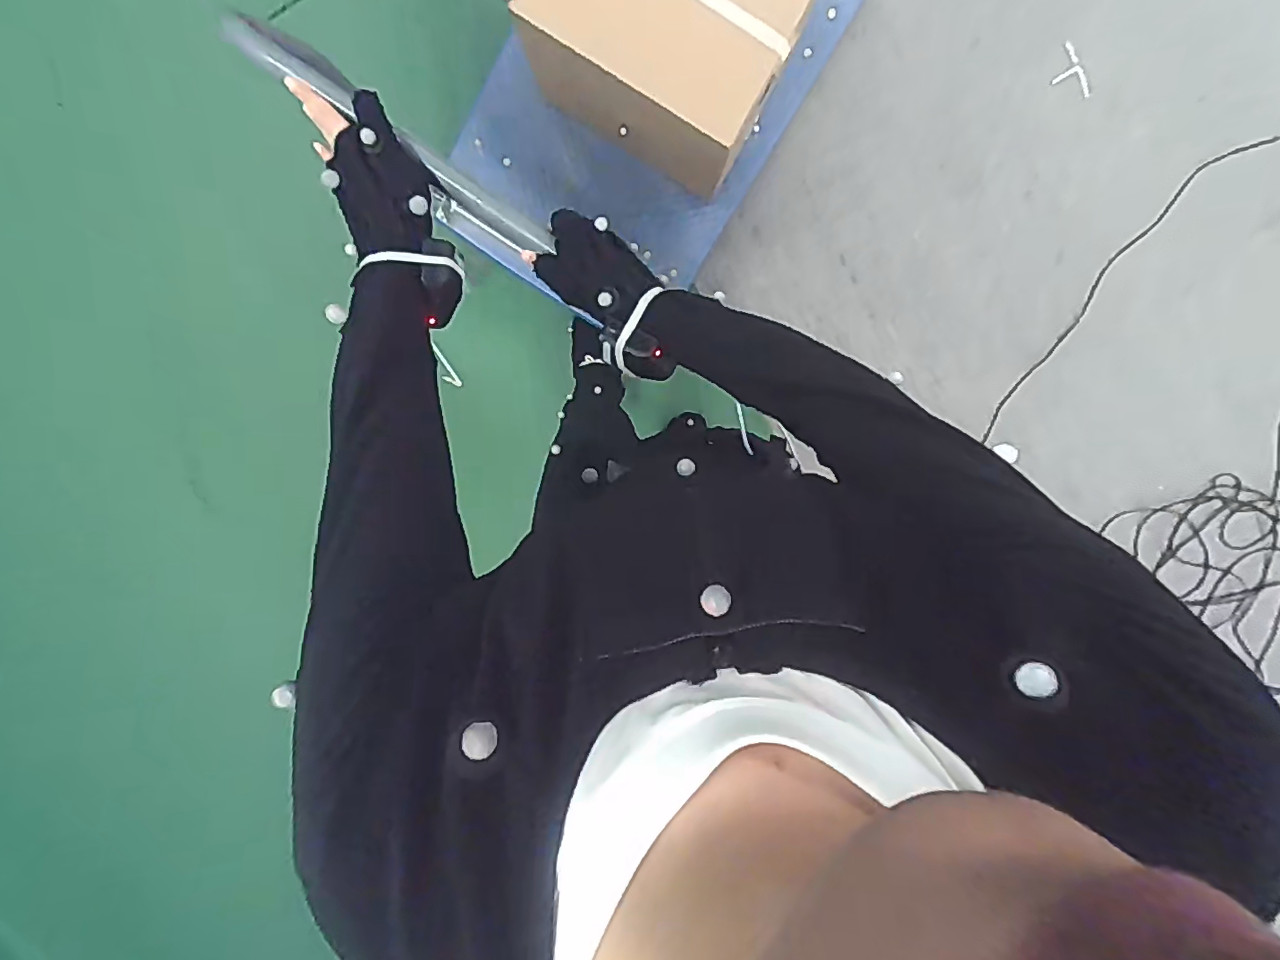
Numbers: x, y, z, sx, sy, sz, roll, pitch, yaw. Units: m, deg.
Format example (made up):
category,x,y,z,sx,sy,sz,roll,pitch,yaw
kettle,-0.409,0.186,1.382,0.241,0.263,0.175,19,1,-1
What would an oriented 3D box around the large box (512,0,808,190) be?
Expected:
category,x,y,z,sx,sy,sz,roll,pitch,yaw
large box,0.050,-0.802,0.969,0.408,0.320,0.320,29,101,-4
